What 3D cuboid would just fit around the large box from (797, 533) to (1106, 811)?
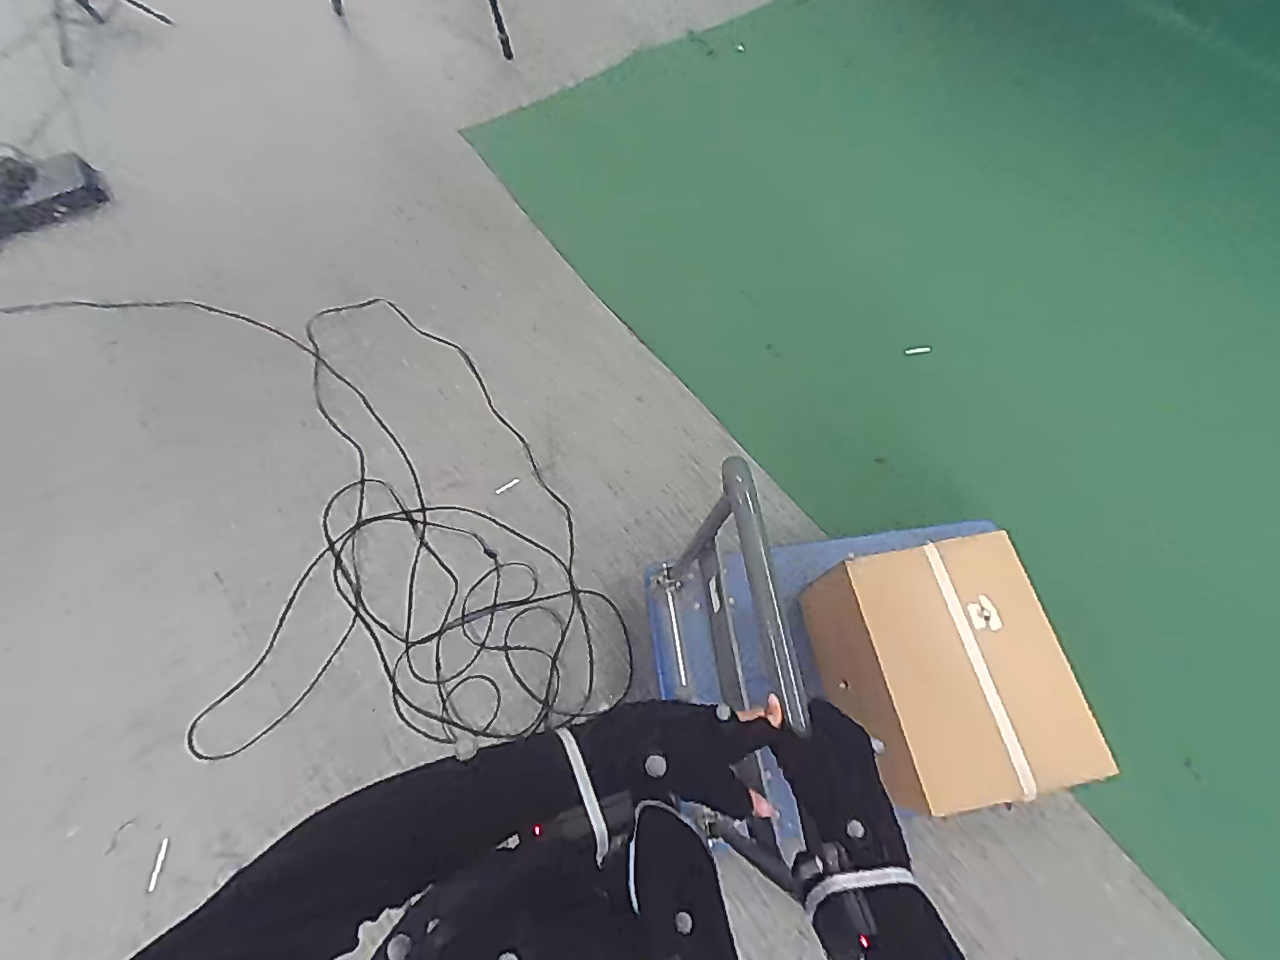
[{"bbox_3d":[0.543,0.362,1.044,0.320,0.320,0.408,-9,66,-6],"label":"large box"}]
